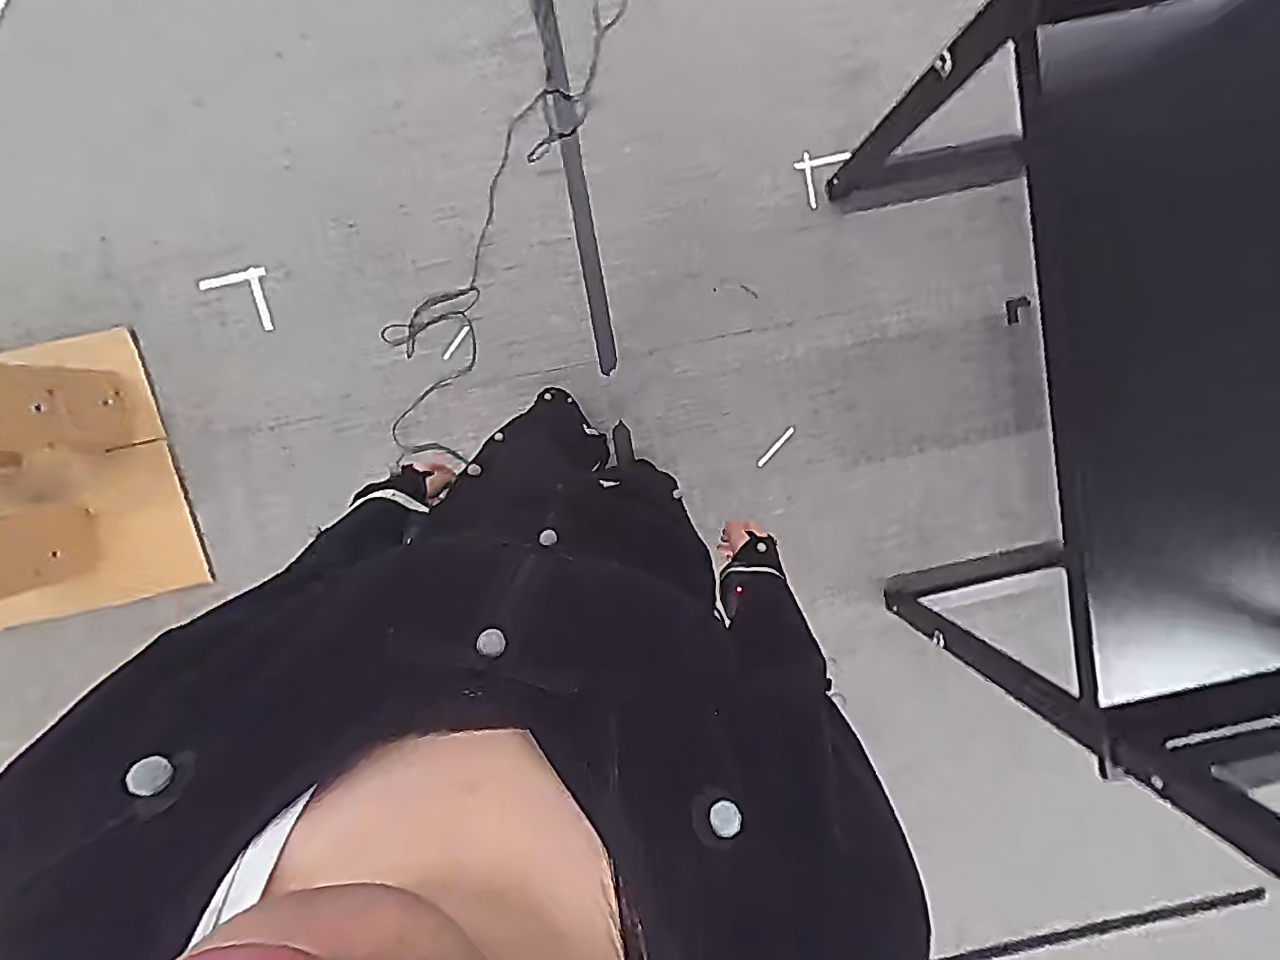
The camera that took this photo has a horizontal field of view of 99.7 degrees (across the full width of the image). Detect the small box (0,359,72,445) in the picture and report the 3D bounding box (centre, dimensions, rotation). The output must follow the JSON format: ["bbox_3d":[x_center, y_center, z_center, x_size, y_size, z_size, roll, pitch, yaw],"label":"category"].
[{"bbox_3d":[-1.401,-0.163,1.158,0.179,0.176,0.168,-8,97,-3],"label":"small box"}]

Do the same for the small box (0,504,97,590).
[{"bbox_3d":[-1.527,0.164,1.356,0.168,0.176,0.179,-3,98,-2],"label":"small box"}]

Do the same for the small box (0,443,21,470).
[{"bbox_3d":[-1.707,-0.095,1.319,0.168,0.176,0.179,-16,98,0],"label":"small box"}]
